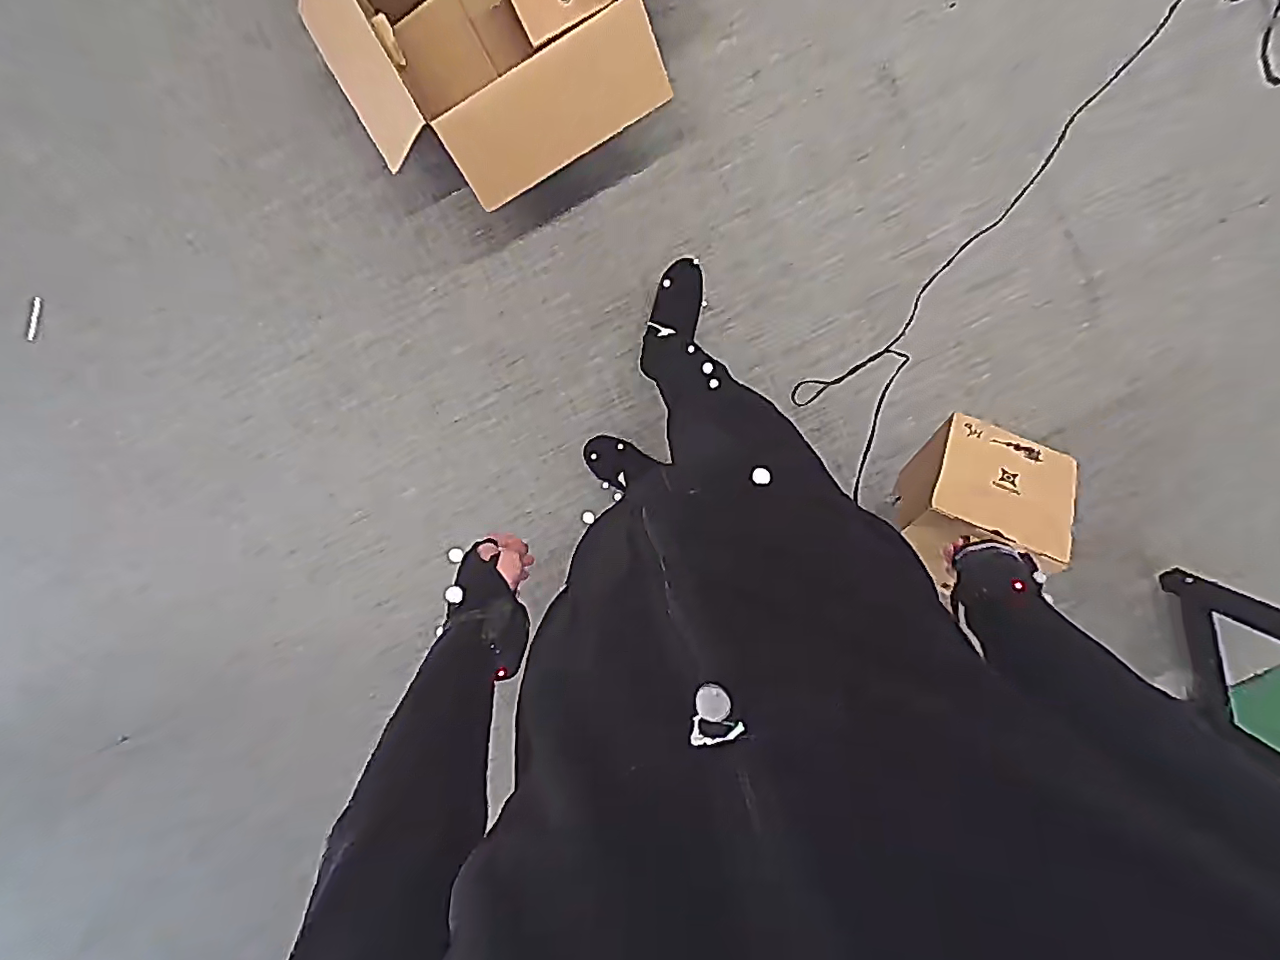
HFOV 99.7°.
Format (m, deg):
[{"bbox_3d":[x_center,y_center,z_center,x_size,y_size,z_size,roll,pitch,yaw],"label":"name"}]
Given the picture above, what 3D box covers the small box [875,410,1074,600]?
[{"bbox_3d":[0.459,0.042,0.763,0.168,0.176,0.179,28,61,10],"label":"small box"}]
